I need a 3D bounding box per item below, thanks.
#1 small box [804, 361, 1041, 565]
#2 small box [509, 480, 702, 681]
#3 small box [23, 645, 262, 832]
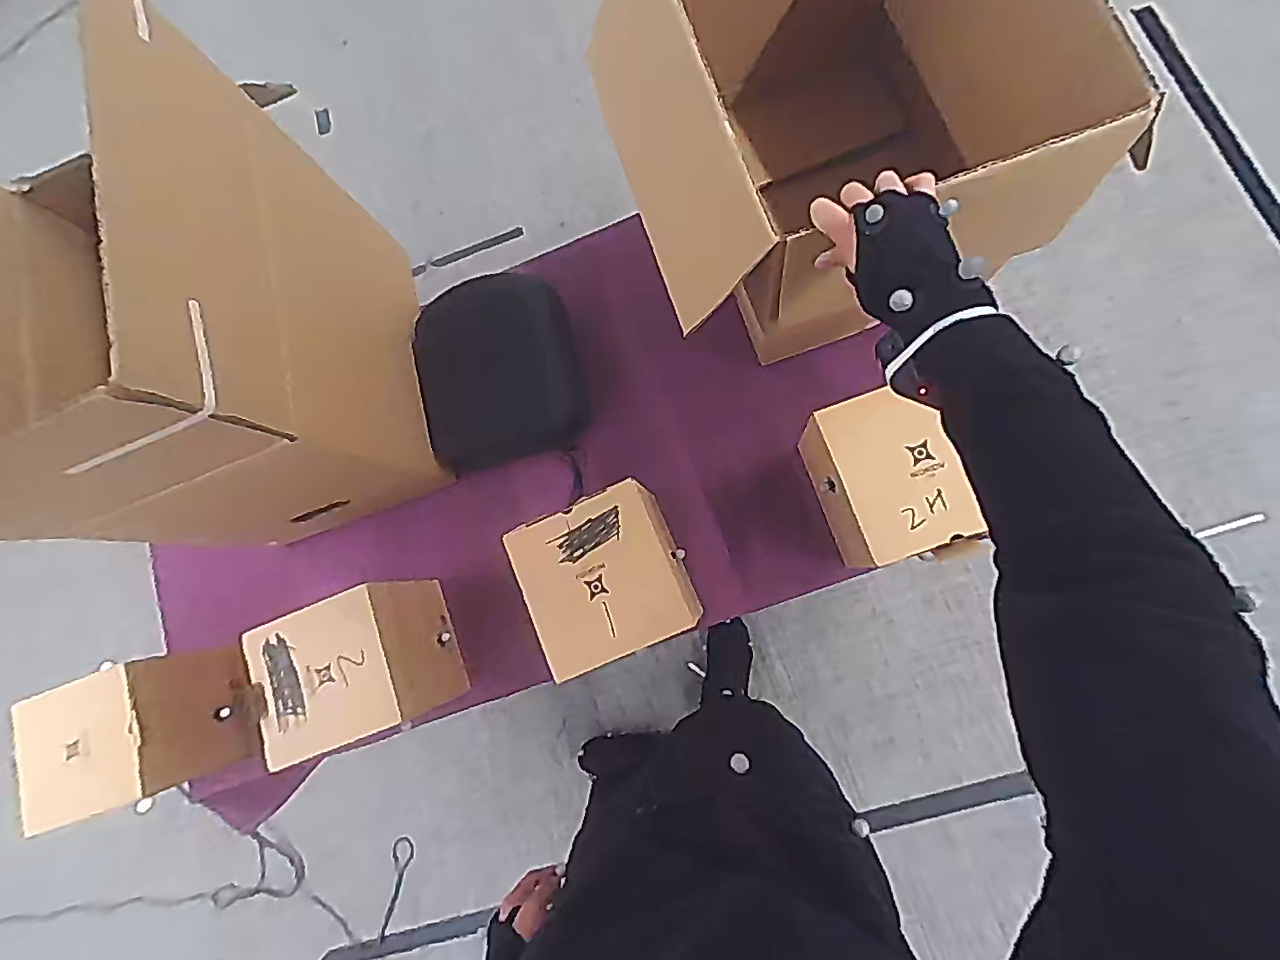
[{"bbox_3d":[0.303,-0.006,0.627,0.168,0.176,0.179,-19,78,8],"label":"small box"},{"bbox_3d":[-0.033,0.120,0.669,0.168,0.176,0.179,-24,79,6],"label":"small box"},{"bbox_3d":[-0.674,0.342,0.747,0.179,0.176,0.168,-20,79,5],"label":"small box"}]
